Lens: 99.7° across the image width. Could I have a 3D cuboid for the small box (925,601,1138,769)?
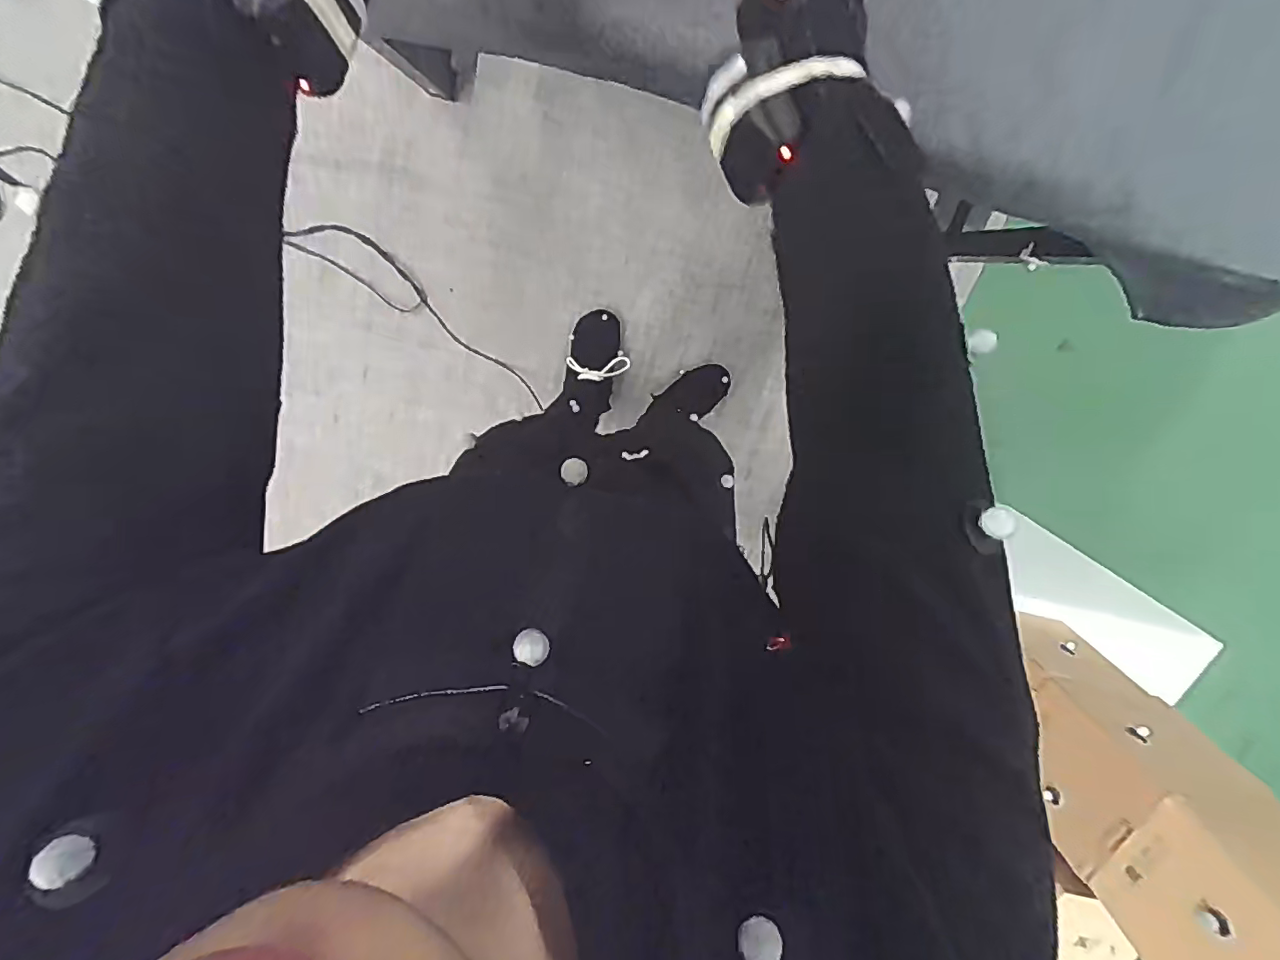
[{"bbox_3d":[0.593,0.314,0.849,0.179,0.176,0.168,14,112,-10],"label":"small box"}]
